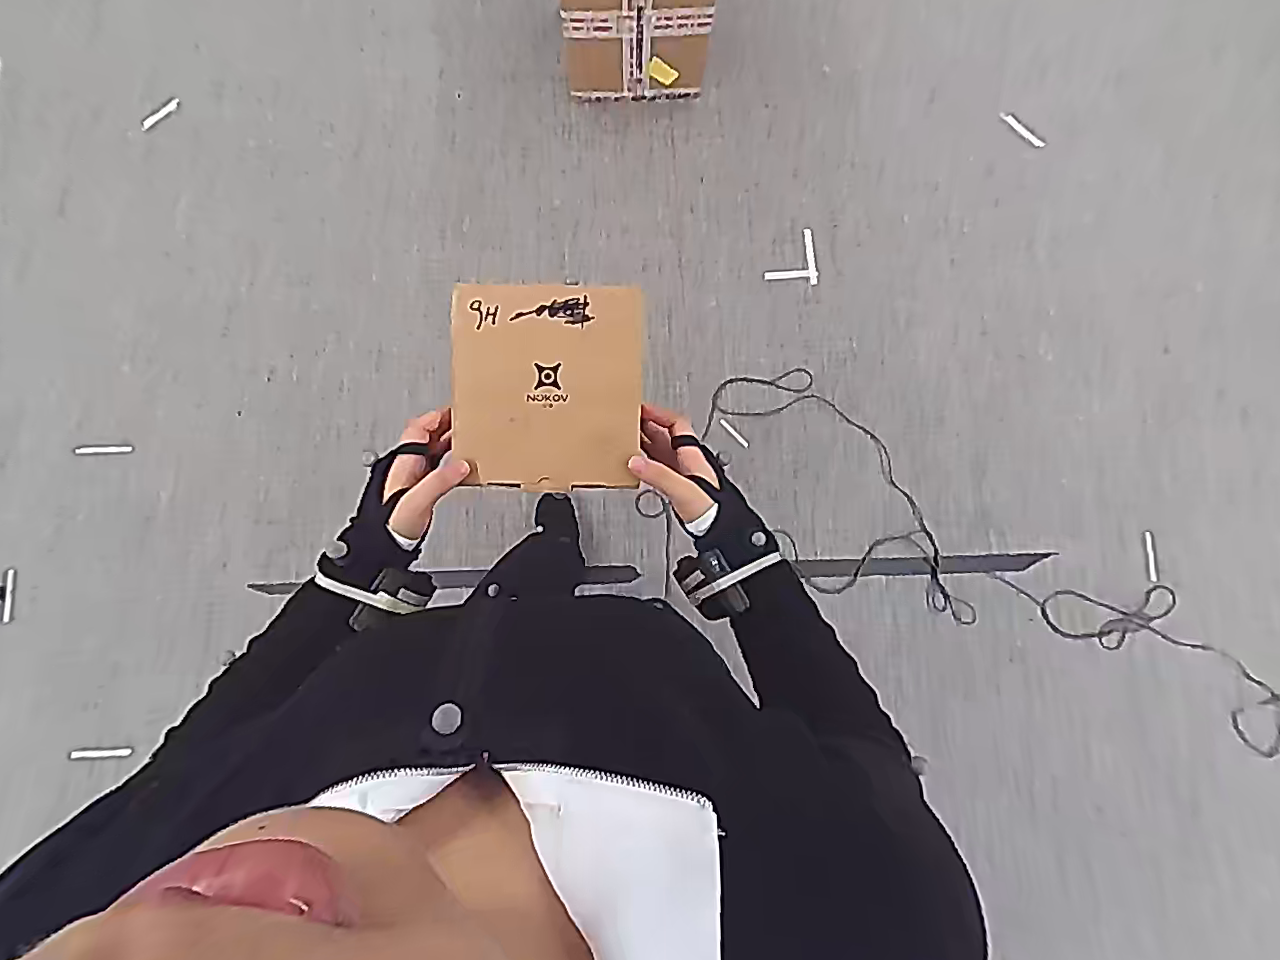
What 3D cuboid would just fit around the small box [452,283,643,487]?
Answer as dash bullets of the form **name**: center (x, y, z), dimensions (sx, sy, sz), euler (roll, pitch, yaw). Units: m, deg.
- **small box**: center (-0.081, -0.088, 0.550), dimensions (0.168, 0.176, 0.179), euler (1, 93, -1)
